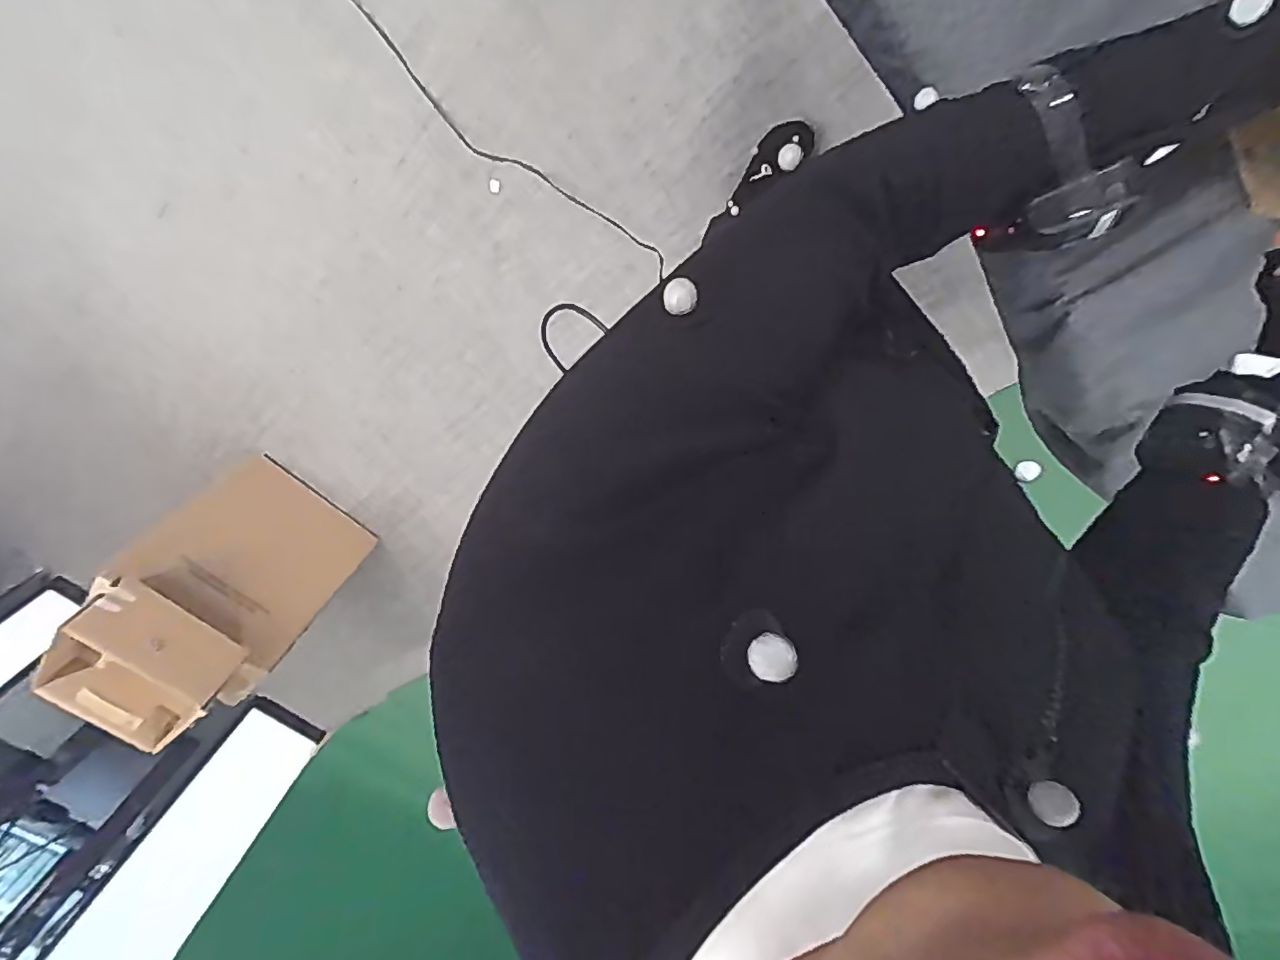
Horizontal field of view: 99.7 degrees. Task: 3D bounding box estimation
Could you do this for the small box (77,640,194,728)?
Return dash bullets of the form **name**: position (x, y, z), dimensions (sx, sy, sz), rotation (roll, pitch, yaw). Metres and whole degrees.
- **small box**: position (-1.486, 0.596, 1.597), dimensions (0.168, 0.176, 0.179), rotation (-34, 110, 34)
